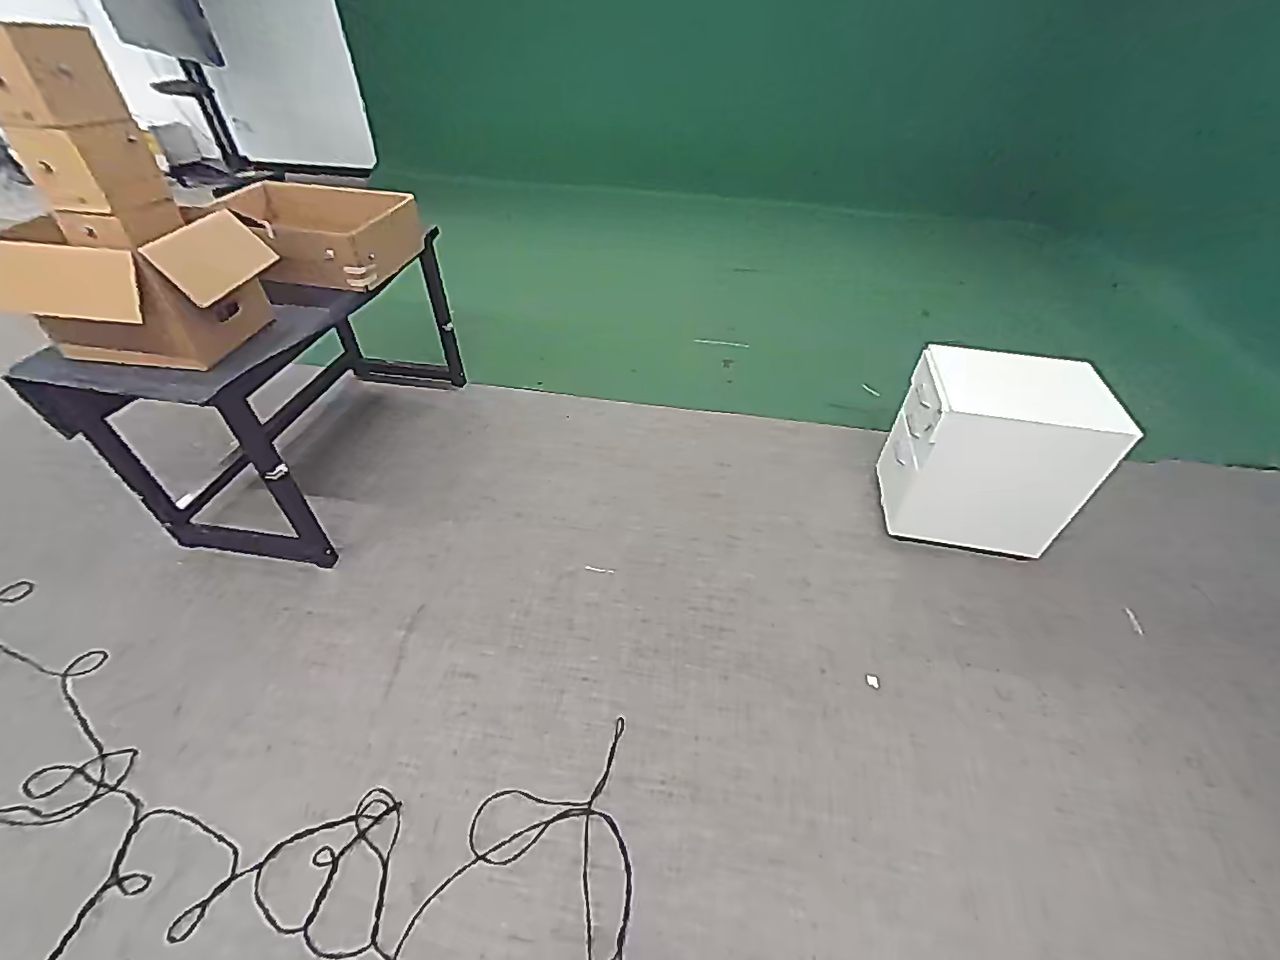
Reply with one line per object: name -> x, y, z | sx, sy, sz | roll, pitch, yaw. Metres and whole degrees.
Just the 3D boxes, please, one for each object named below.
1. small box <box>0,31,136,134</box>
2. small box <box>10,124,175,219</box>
small box -> -1.255, -0.845, 1.153 | 0.168, 0.176, 0.179 | 8, 40, 9
small box -> -1.253, -0.717, 1.255 | 0.168, 0.176, 0.179 | 7, 39, 8
